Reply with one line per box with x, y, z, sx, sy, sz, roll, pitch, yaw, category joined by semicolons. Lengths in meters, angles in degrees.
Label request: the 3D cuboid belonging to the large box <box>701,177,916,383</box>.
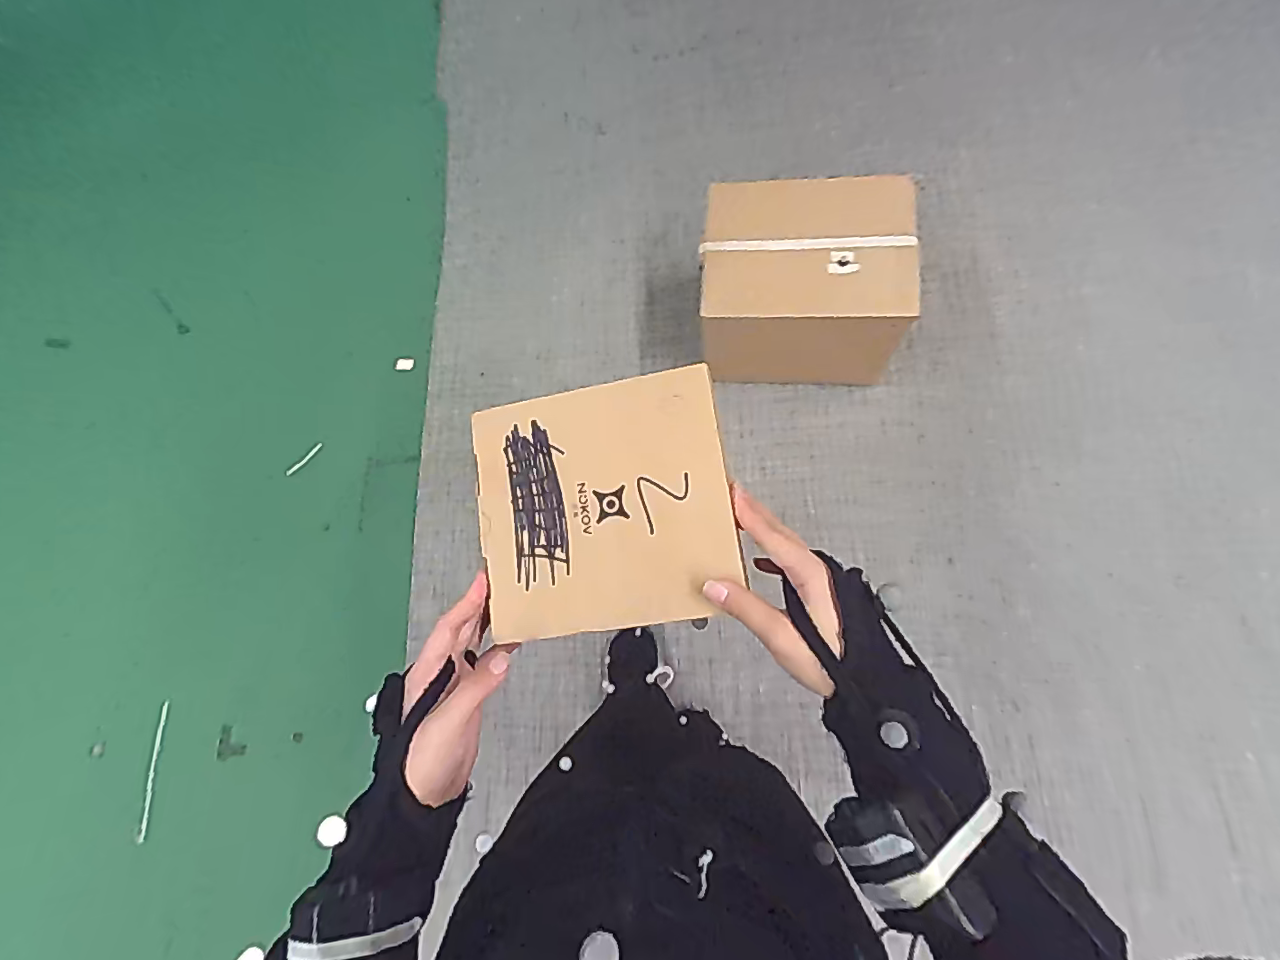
0.342;-0.420;1.203;0.408;0.320;0.320;2;77;9;large box
